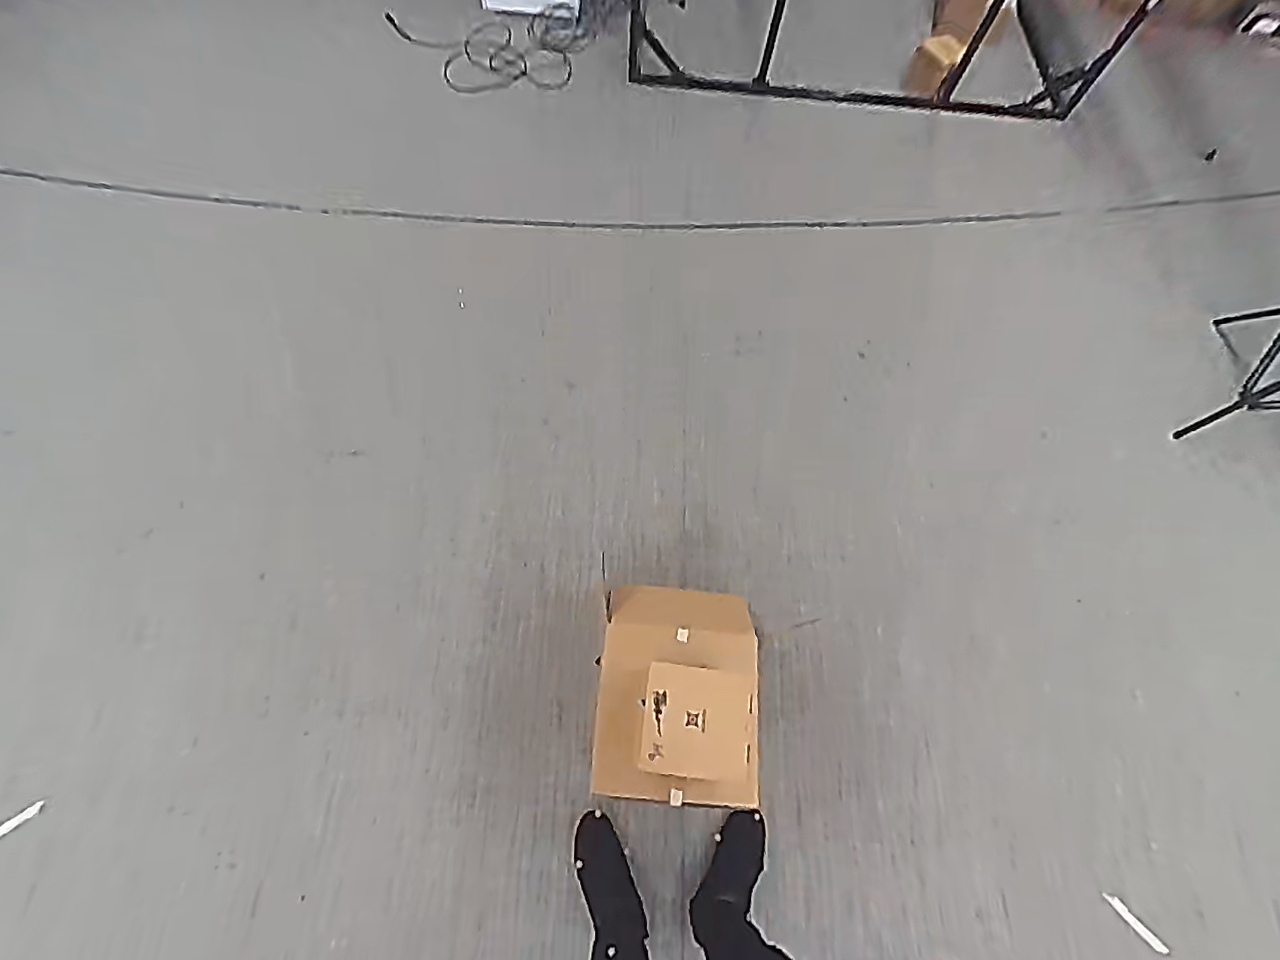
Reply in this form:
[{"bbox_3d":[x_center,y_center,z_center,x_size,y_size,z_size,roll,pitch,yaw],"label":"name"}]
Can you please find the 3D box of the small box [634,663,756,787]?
[{"bbox_3d":[0.091,0.421,0.945,0.179,0.176,0.168,9,67,-1],"label":"small box"}]
